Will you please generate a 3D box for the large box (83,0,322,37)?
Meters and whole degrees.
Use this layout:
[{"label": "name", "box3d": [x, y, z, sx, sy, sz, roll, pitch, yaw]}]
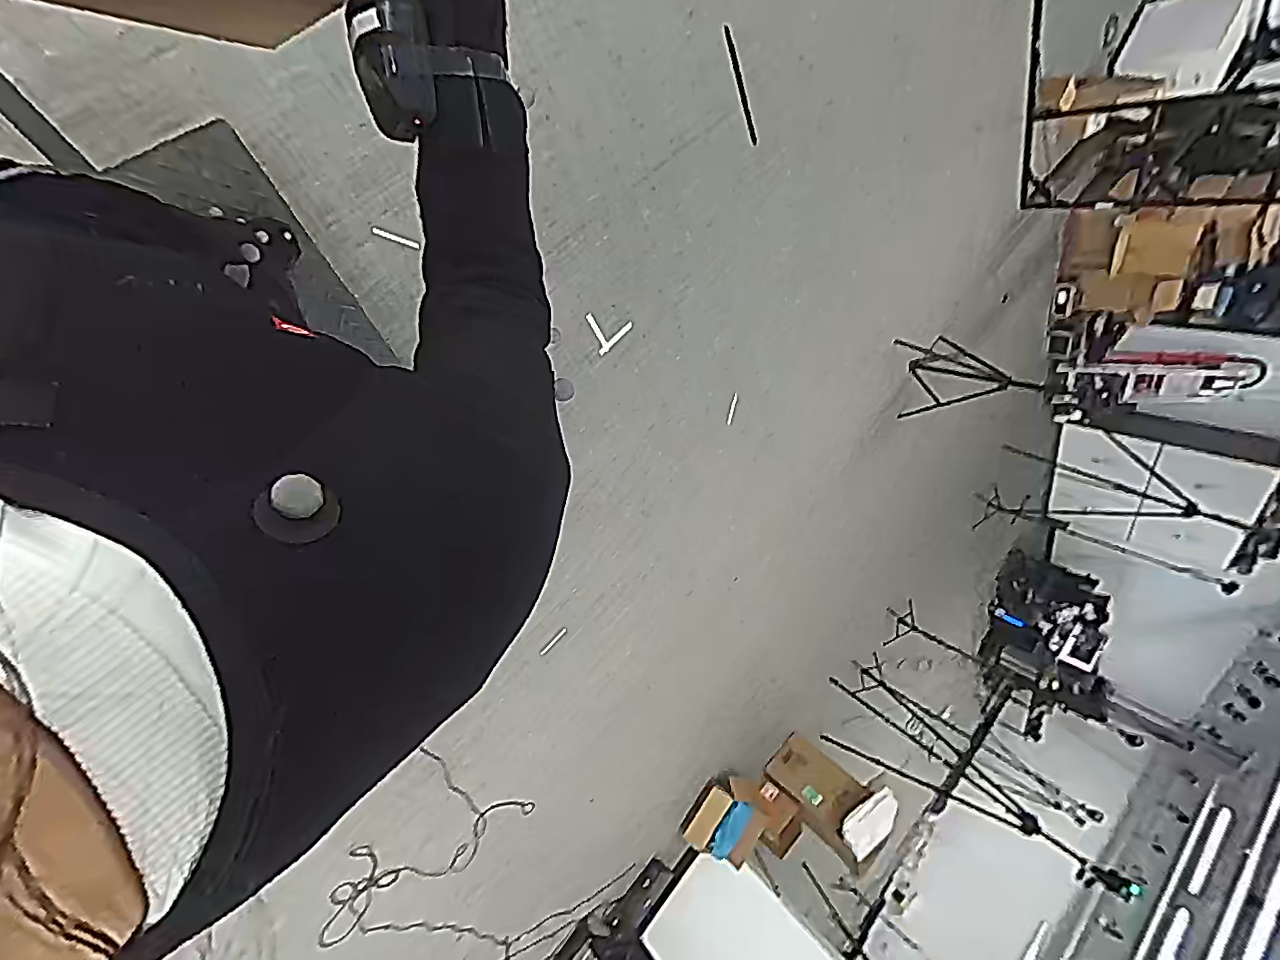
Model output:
[{"label": "large box", "box3d": [-0.382, -0.430, 0.214, 0.408, 0.320, 0.320, -18, 127, -37]}]
